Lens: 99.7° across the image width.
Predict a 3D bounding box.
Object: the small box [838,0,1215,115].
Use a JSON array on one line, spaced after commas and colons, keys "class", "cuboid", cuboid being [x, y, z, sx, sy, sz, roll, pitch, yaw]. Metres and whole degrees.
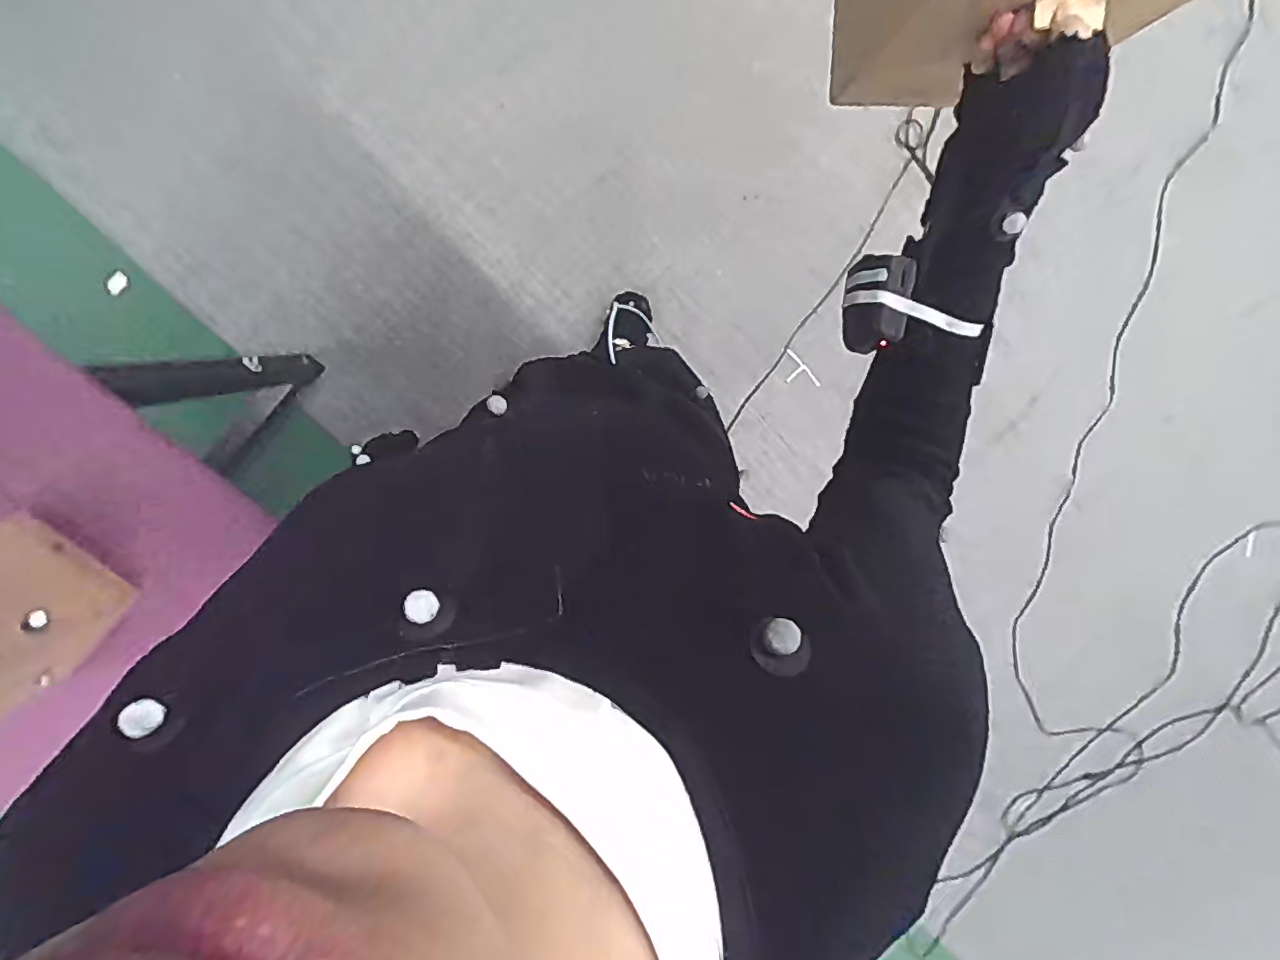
[{"class": "small box", "cuboid": [0.253, -0.379, 0.370, 0.168, 0.176, 0.179, -1, 104, -5]}]
